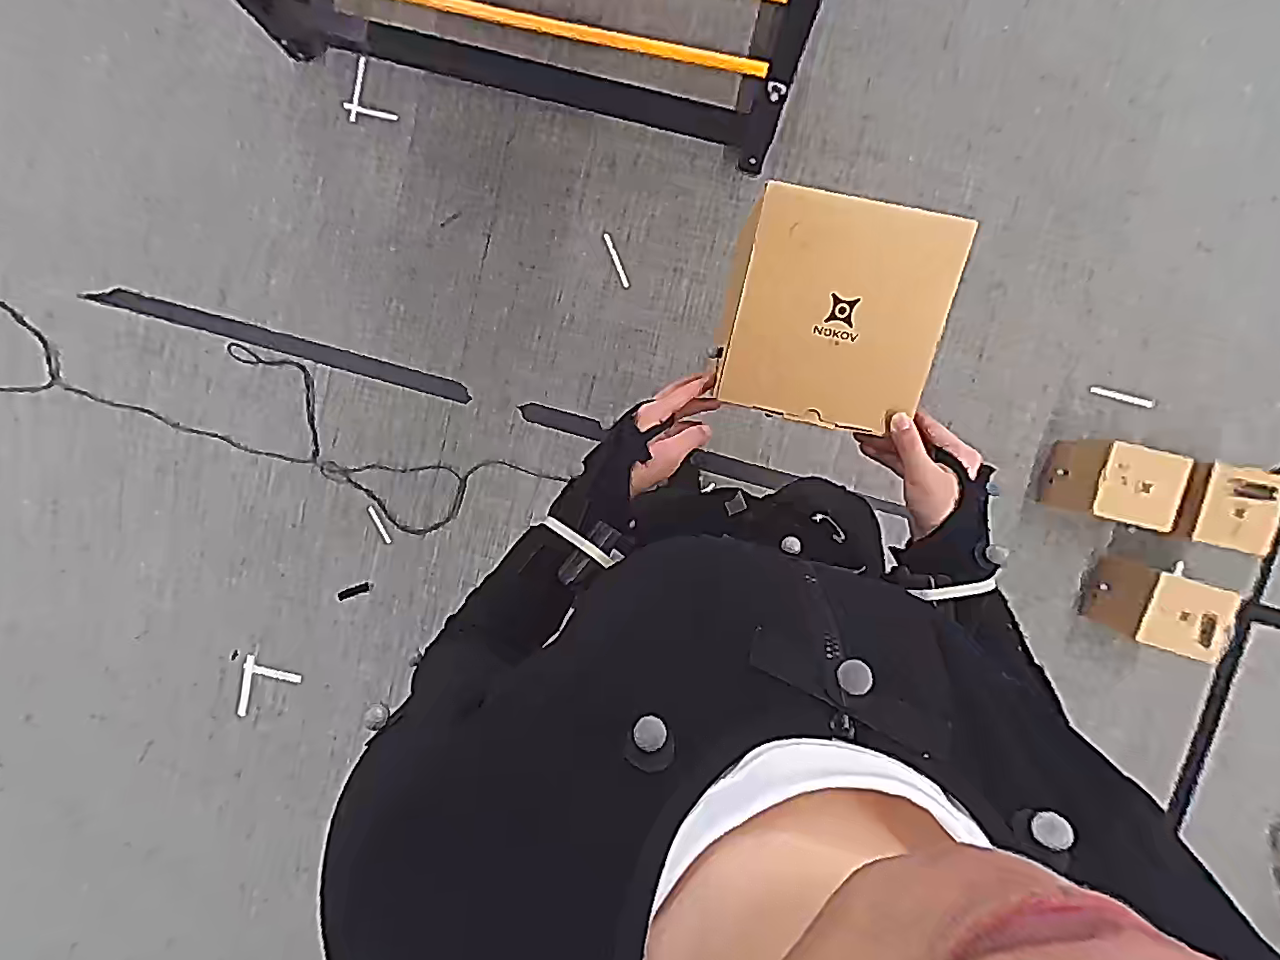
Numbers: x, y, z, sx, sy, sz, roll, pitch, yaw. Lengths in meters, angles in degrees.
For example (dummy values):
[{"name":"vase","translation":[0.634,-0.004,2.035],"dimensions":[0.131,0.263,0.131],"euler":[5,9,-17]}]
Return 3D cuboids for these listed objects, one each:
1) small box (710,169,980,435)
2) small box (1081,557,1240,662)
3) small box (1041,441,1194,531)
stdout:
[{"name":"small box","translation":[0.164,-0.155,0.501],"dimensions":[0.168,0.176,0.179],"euler":[11,105,1]},{"name":"small box","translation":[1.198,0.291,1.258],"dimensions":[0.179,0.176,0.168],"euler":[17,95,2]},{"name":"small box","translation":[1.081,0.006,1.237],"dimensions":[0.179,0.176,0.168],"euler":[14,95,1]}]
